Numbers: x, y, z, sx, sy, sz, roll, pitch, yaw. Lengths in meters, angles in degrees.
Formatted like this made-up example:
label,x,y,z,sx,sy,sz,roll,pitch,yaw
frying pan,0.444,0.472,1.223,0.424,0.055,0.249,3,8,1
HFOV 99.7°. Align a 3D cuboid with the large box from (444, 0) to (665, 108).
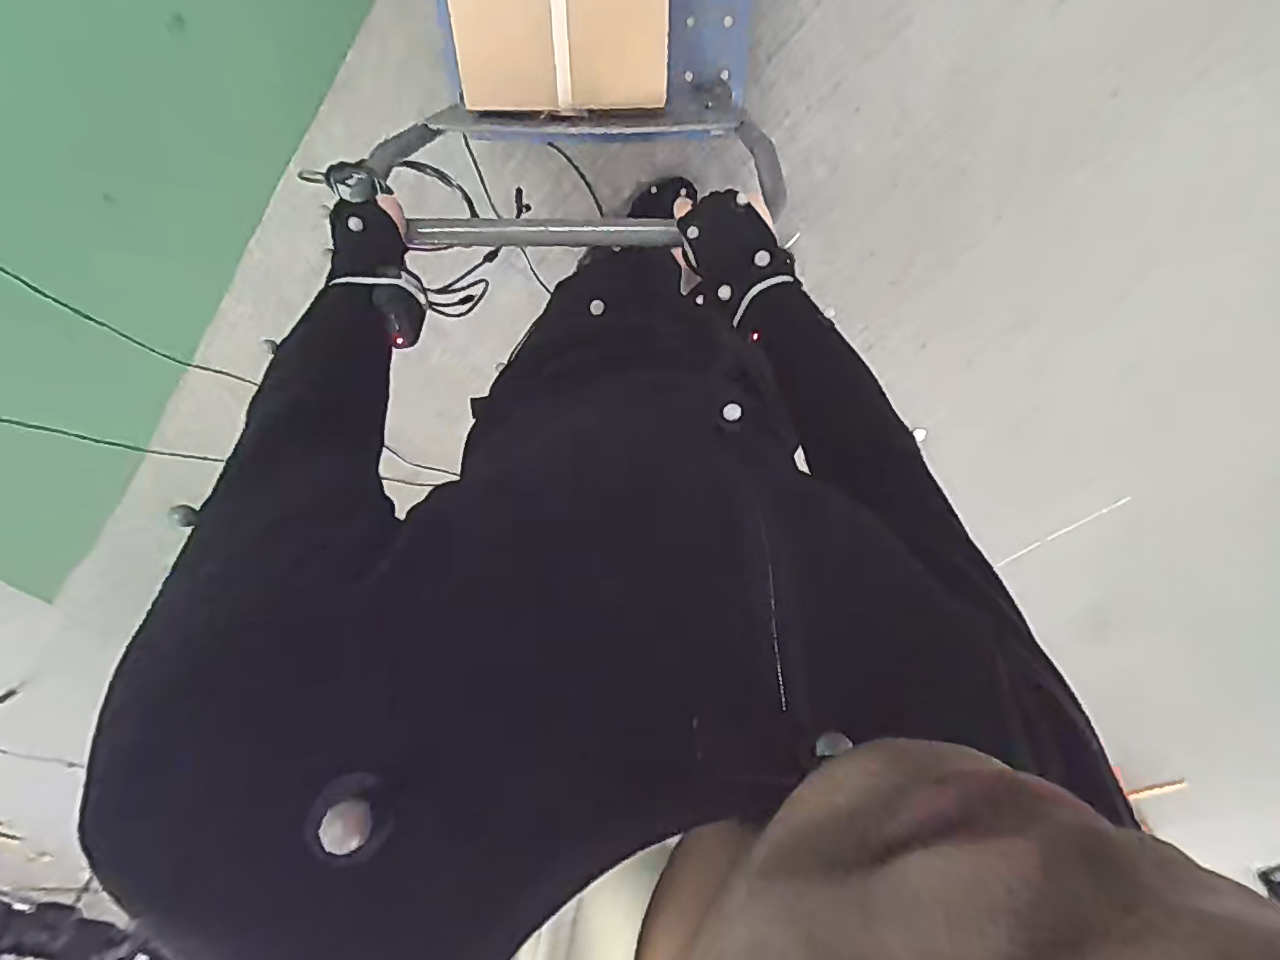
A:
label,x,y,z,sx,sy,sz,roll,pitch,yaw
large box,-0.118,-0.824,0.830,0.320,0.320,0.408,0,127,1
